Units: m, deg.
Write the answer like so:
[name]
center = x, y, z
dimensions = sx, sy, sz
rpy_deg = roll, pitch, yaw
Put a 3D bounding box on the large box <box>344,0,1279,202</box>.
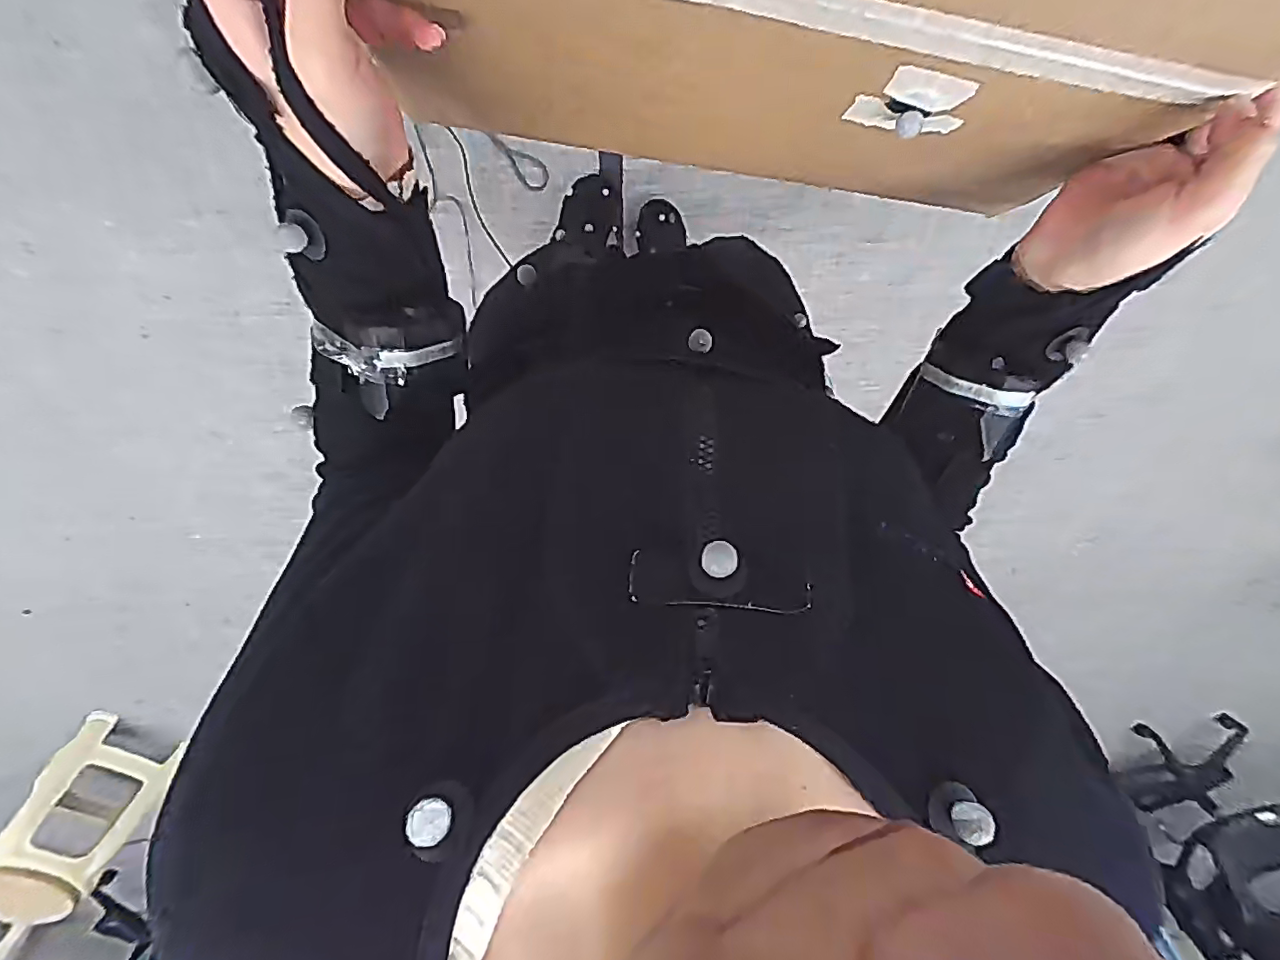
[large box]
center = 0.082, -0.343, 0.199
dimensions = 0.408, 0.320, 0.320
rpy_deg = 4, 98, -8
